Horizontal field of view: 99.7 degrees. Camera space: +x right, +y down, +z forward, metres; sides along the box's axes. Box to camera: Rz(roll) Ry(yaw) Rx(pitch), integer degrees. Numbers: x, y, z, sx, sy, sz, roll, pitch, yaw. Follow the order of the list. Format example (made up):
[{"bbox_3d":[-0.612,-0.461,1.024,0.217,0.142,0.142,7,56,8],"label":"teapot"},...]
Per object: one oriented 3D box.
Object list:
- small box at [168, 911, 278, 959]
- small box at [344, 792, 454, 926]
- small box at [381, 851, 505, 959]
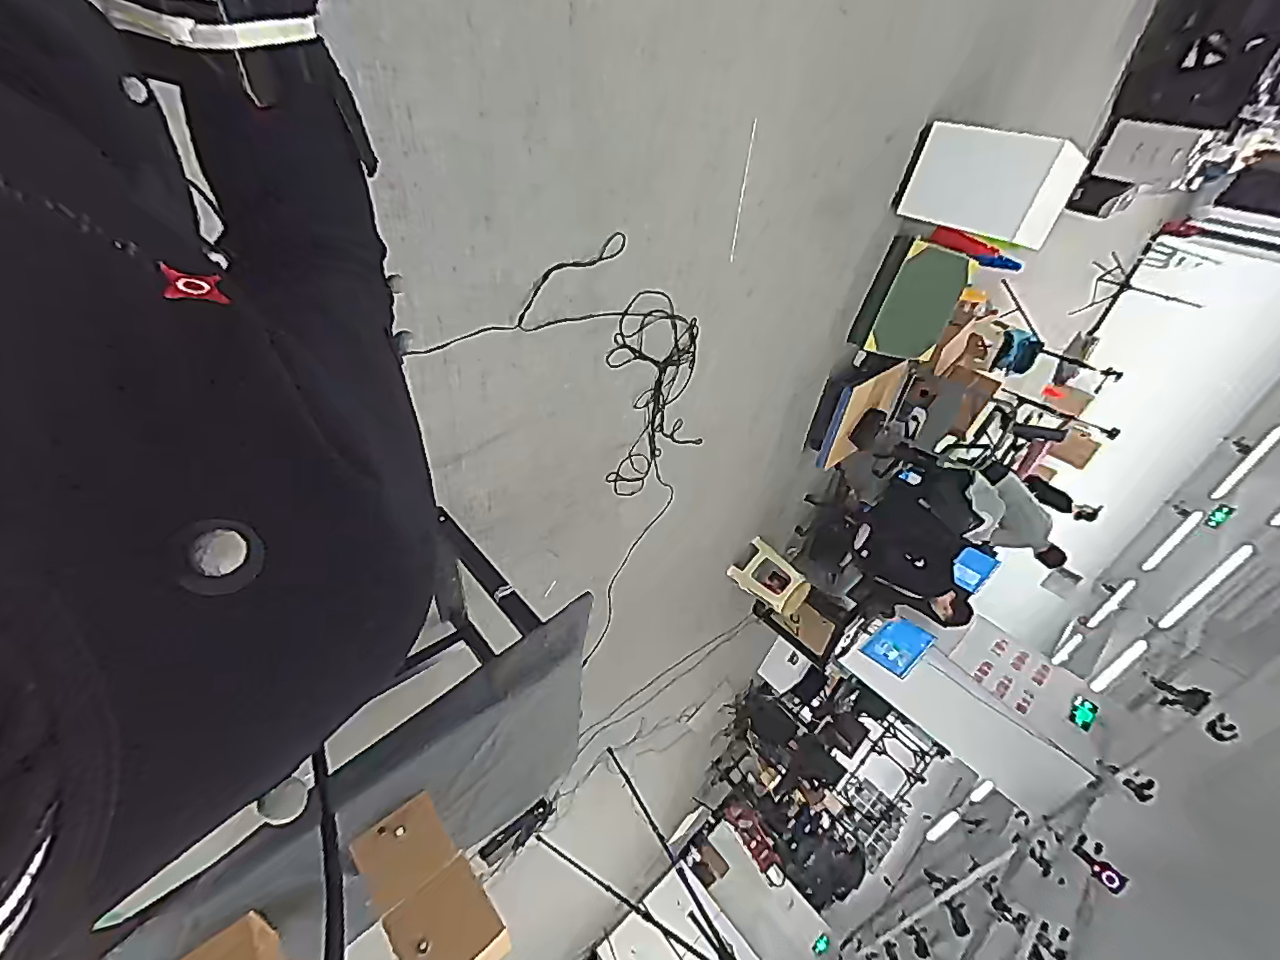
[{"bbox_3d":[-0.756,0.929,0.964,0.179,0.176,0.168,-24,138,-36],"label":"small box"},{"bbox_3d":[-0.507,0.819,1.163,0.168,0.176,0.179,-26,138,-35],"label":"small box"},{"bbox_3d":[-0.394,0.899,1.078,0.179,0.176,0.168,-28,141,-34],"label":"small box"}]
